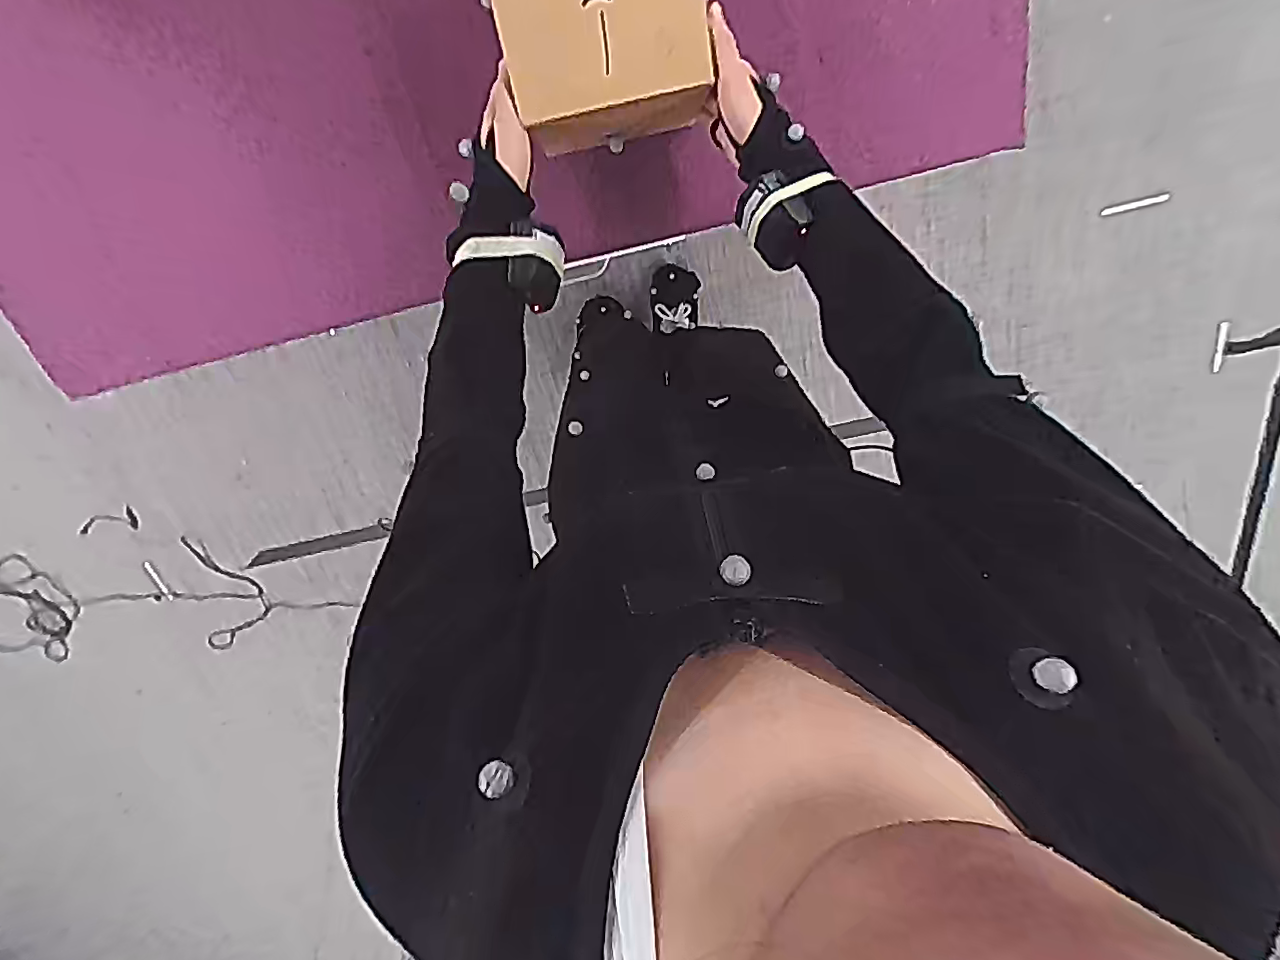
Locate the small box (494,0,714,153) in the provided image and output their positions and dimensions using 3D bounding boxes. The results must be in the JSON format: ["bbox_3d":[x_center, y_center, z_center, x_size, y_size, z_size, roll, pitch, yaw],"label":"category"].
[{"bbox_3d":[-0.036,-0.418,0.483,0.168,0.176,0.179,-10,113,4],"label":"small box"}]
